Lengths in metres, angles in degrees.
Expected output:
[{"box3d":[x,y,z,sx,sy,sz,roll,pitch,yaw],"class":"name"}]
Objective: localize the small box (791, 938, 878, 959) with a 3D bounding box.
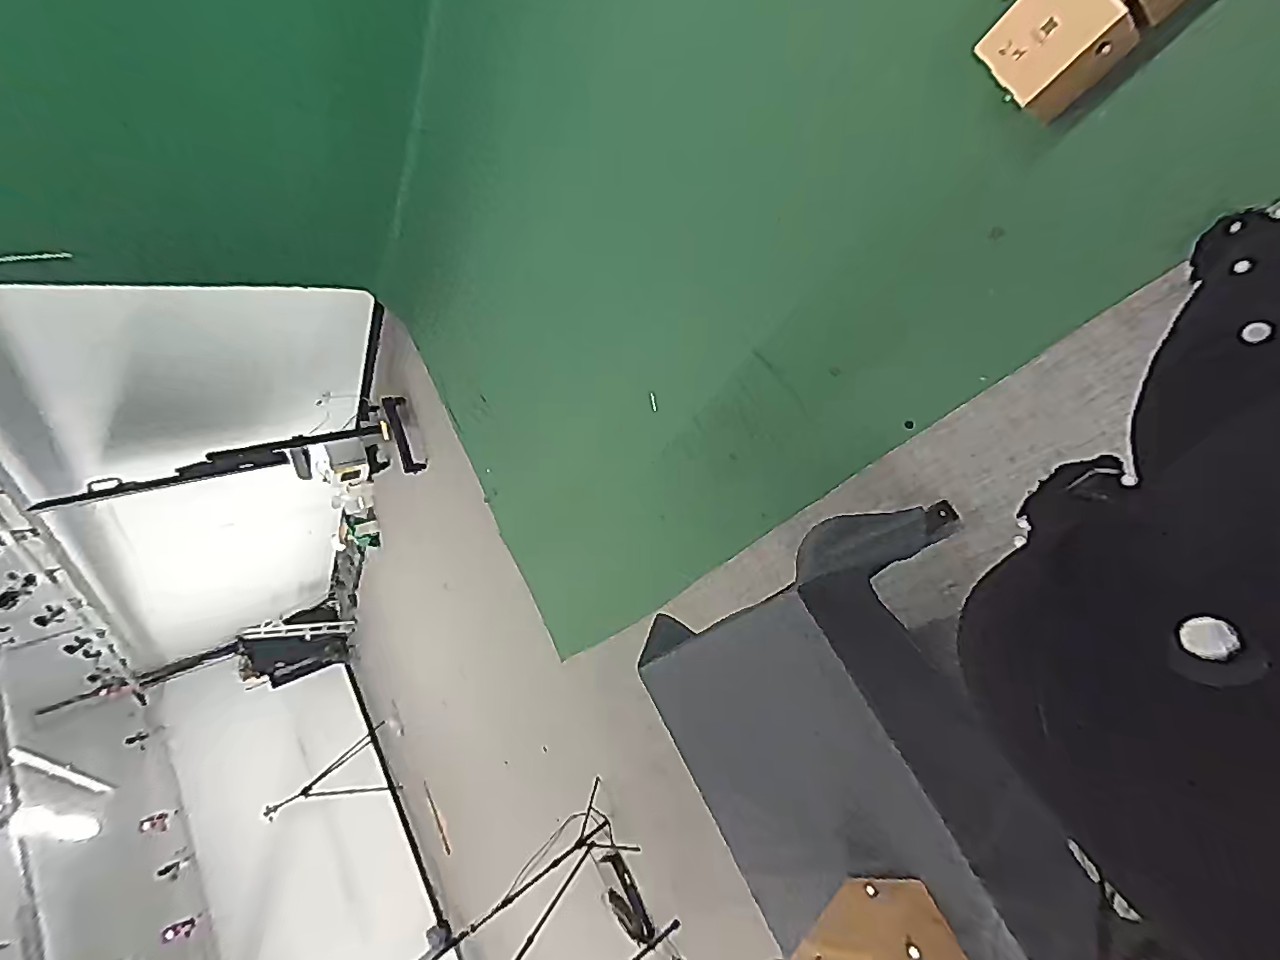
[{"box3d":[0.302,0.829,0.796,0.179,0.176,0.168,60,139,16],"class":"small box"}]
